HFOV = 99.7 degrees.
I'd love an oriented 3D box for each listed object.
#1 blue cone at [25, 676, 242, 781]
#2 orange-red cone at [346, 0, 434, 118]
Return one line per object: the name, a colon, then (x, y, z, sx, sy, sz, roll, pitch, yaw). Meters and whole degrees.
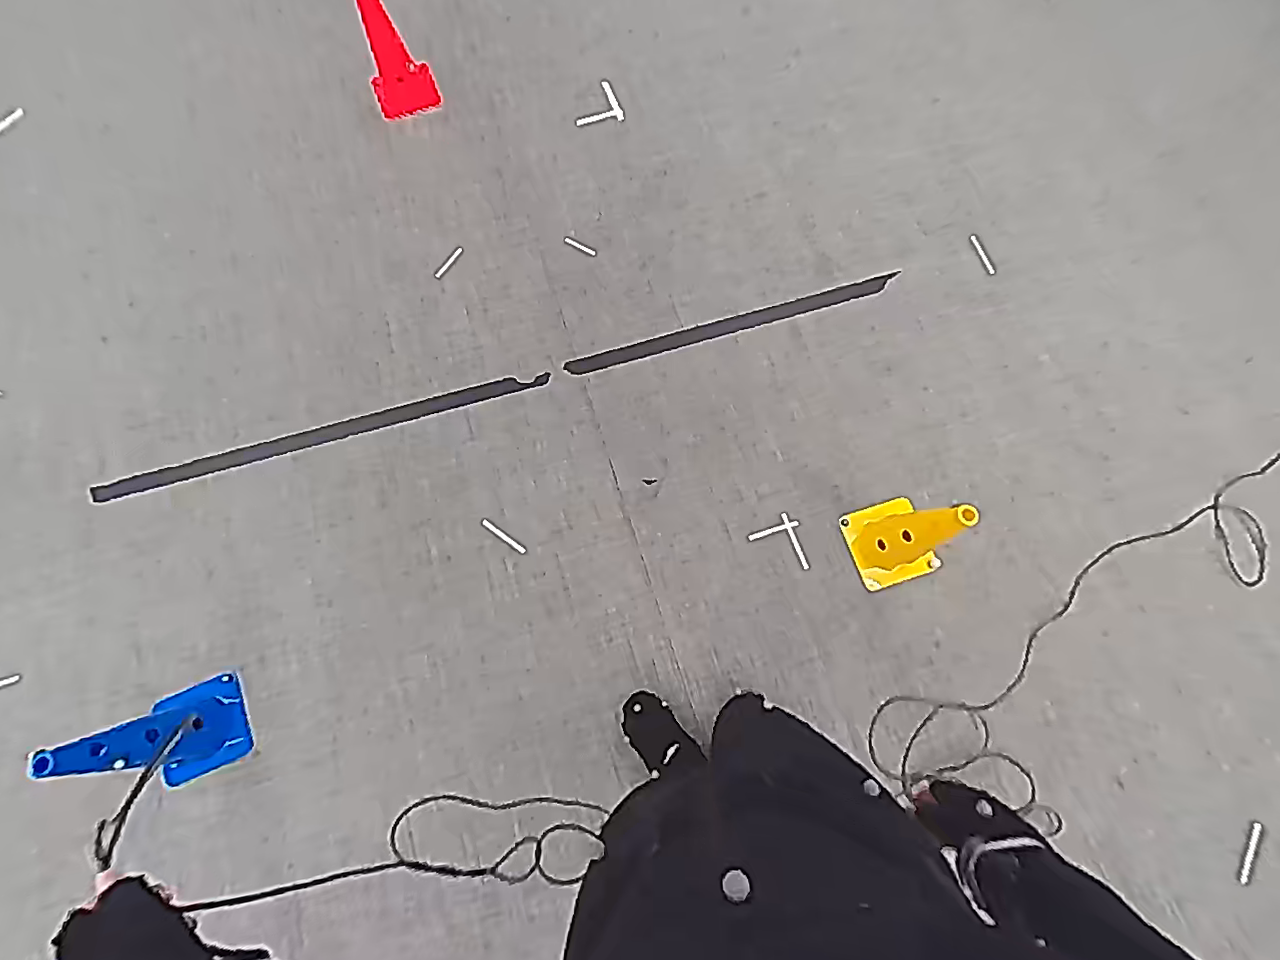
blue cone: (-1.033, 0.537, 1.104, 0.193, 0.380, 0.192, -22, 75, -6)
orange-red cone: (-0.800, -1.335, 1.626, 0.199, 0.360, 0.198, -22, 75, -4)
